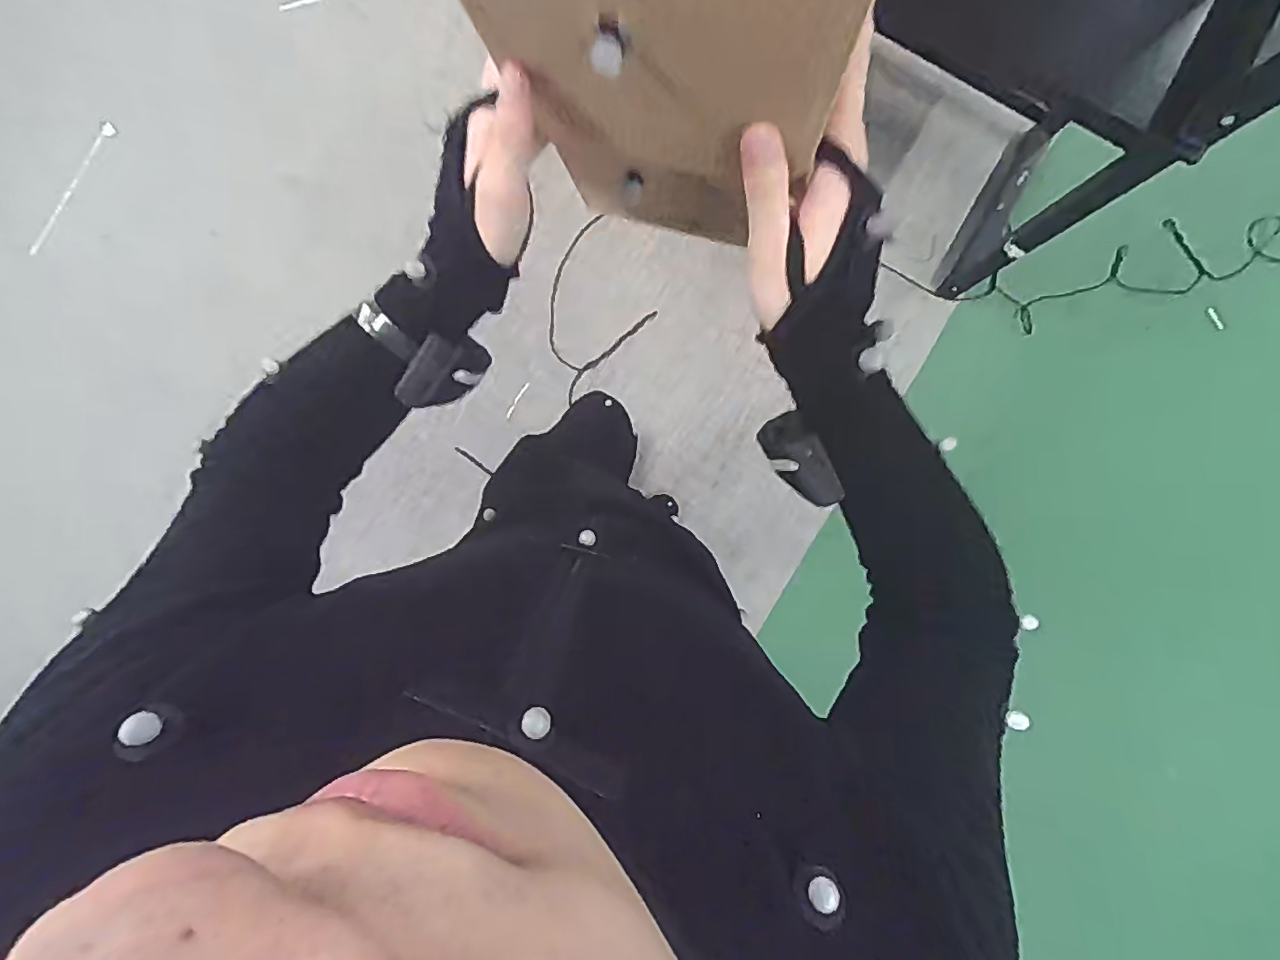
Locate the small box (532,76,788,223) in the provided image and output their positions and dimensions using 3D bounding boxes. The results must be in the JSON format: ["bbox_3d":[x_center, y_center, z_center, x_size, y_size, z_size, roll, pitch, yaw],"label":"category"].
[{"bbox_3d":[0.042,-0.318,0.397,0.168,0.176,0.179,17,96,5],"label":"small box"}]

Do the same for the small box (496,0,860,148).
[{"bbox_3d":[0.025,-0.281,0.236,0.179,0.176,0.168,17,97,6],"label":"small box"}]
